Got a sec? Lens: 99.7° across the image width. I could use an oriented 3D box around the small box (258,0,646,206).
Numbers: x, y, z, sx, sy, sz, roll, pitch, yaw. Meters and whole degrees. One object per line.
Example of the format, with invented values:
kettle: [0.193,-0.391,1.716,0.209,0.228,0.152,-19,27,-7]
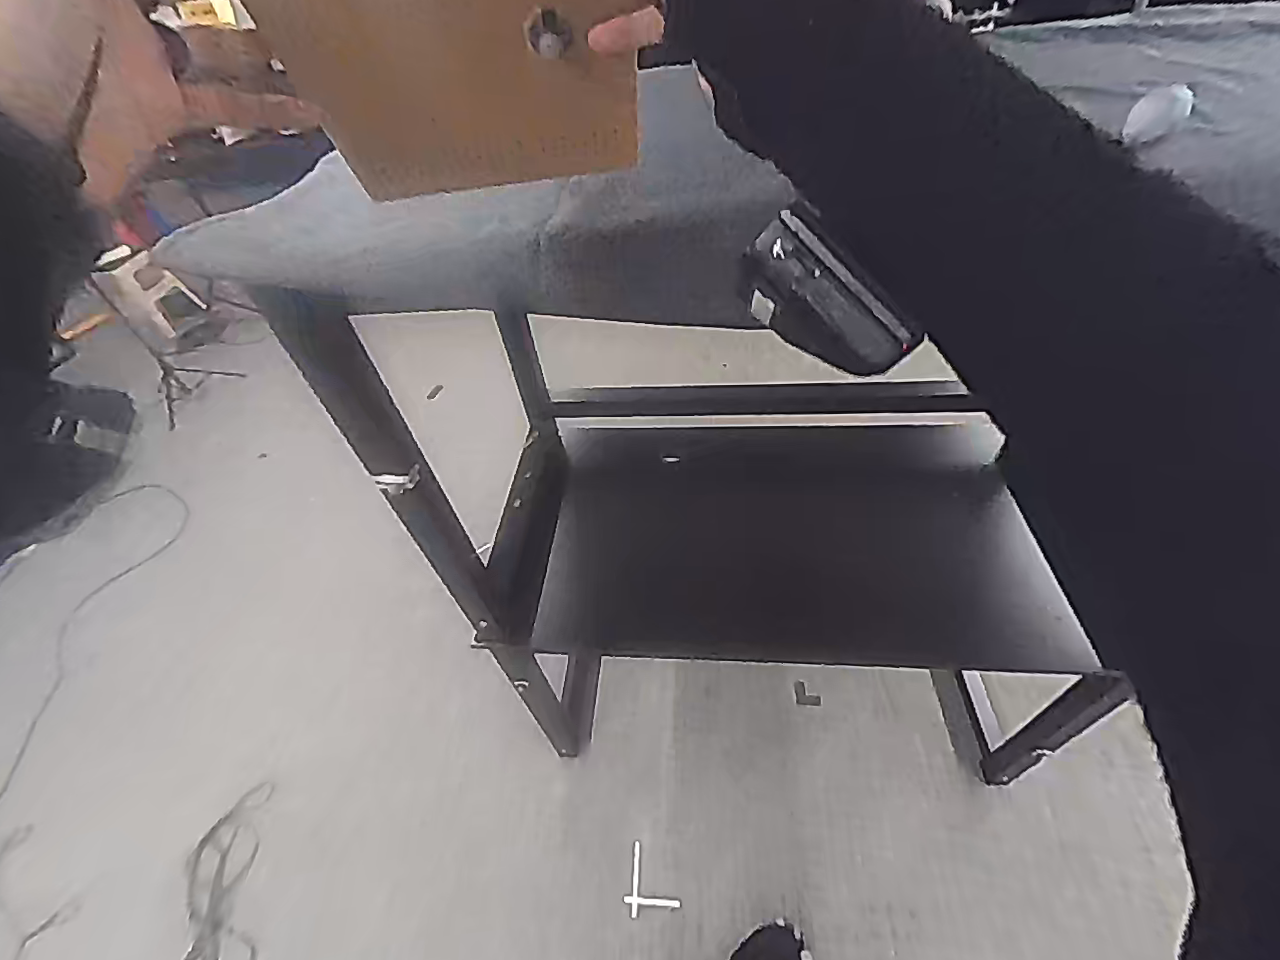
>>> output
small box: [-0.091,-0.283,0.297,0.179,0.176,0.168,-8,75,-2]
